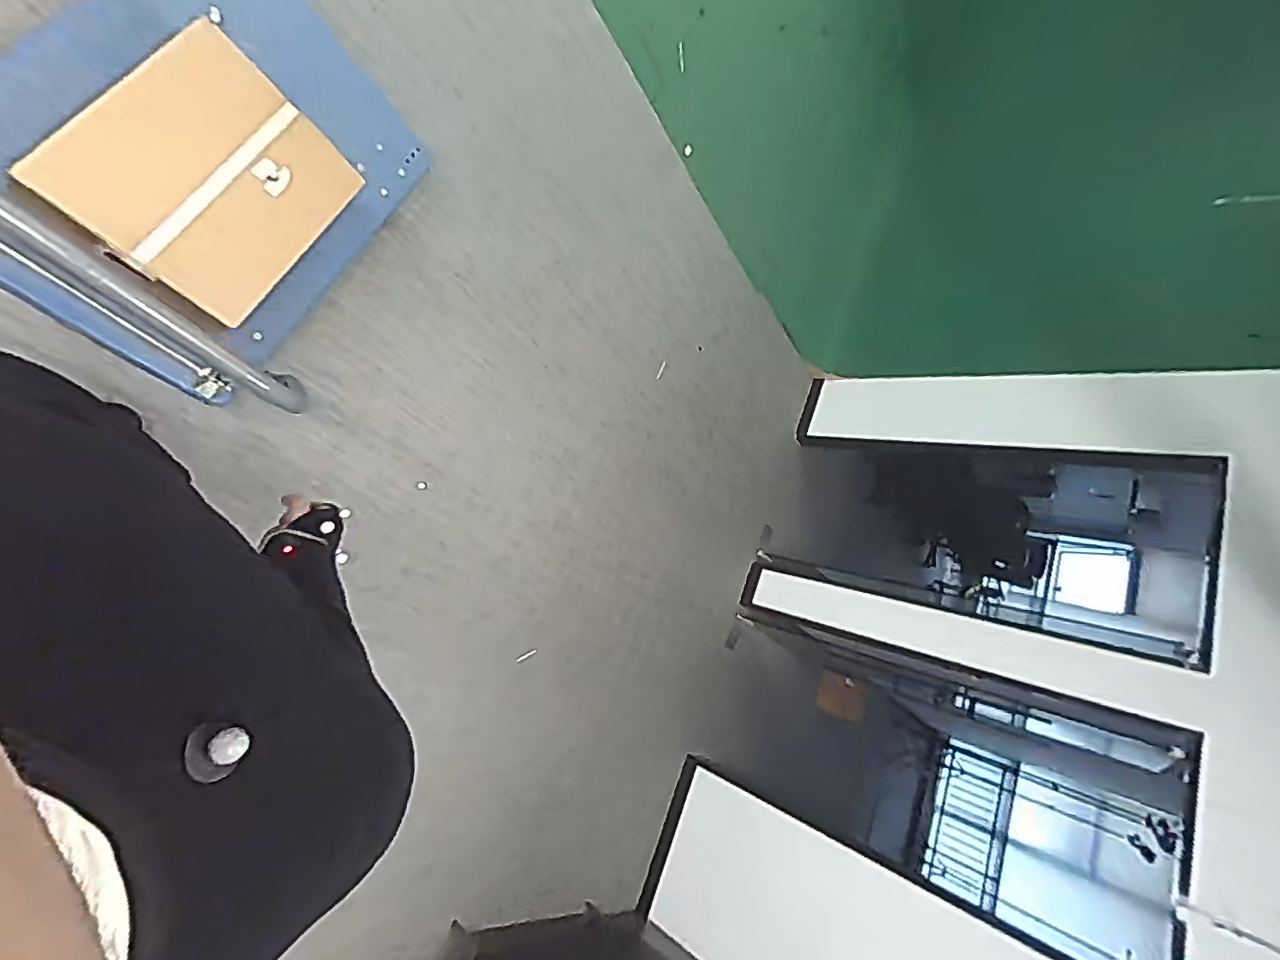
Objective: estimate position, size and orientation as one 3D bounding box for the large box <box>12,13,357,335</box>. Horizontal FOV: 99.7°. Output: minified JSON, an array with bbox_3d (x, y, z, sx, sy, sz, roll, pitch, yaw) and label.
[{"bbox_3d":[-0.840,-0.537,1.022,0.320,0.320,0.408,46,62,-43],"label":"large box"}]
